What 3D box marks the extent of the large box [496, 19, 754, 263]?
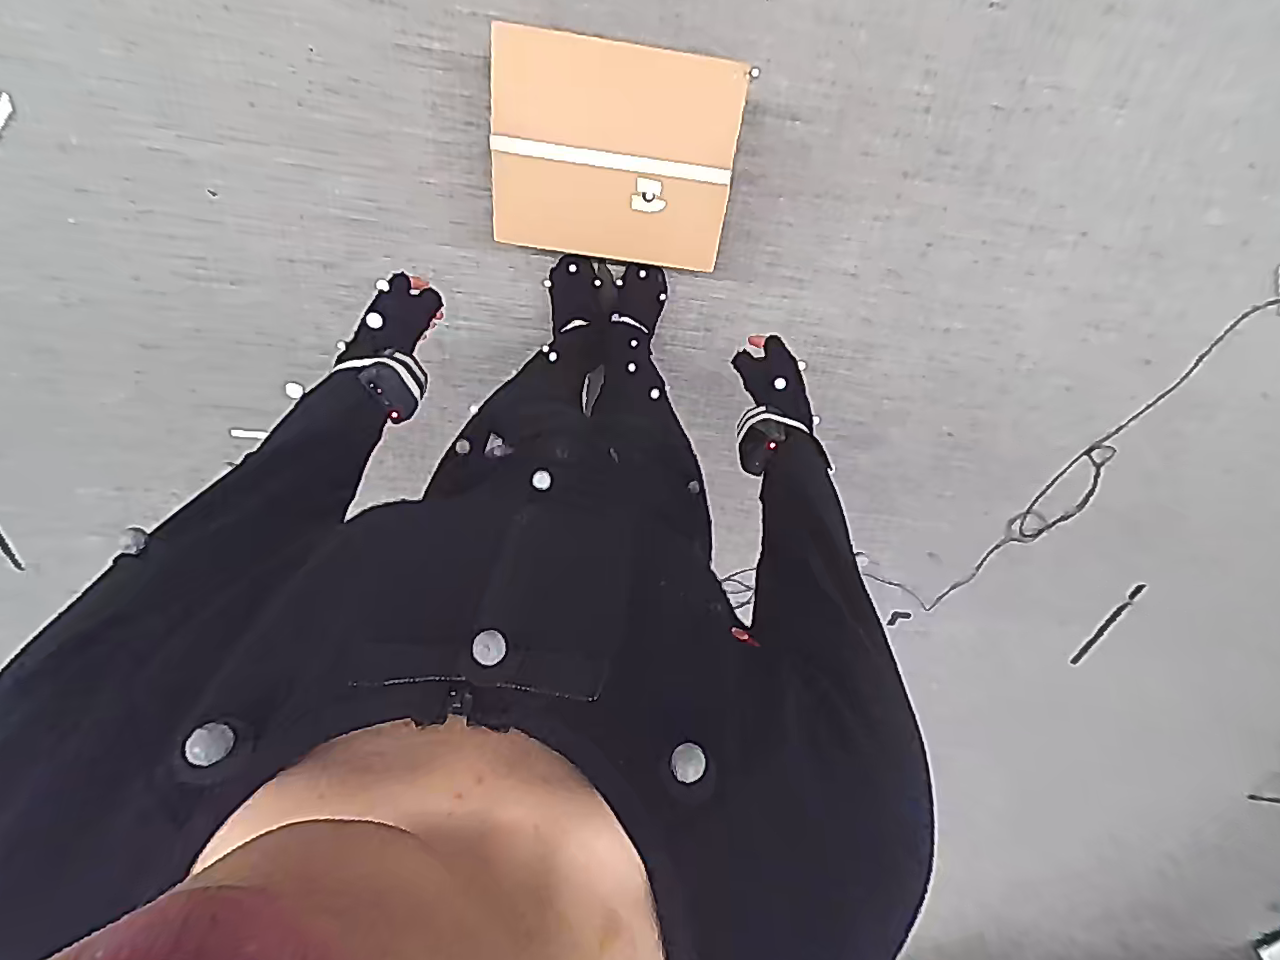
[{"bbox_3d":[-0.039,-0.622,1.027,0.408,0.320,0.320,6,123,-4],"label":"large box"}]
